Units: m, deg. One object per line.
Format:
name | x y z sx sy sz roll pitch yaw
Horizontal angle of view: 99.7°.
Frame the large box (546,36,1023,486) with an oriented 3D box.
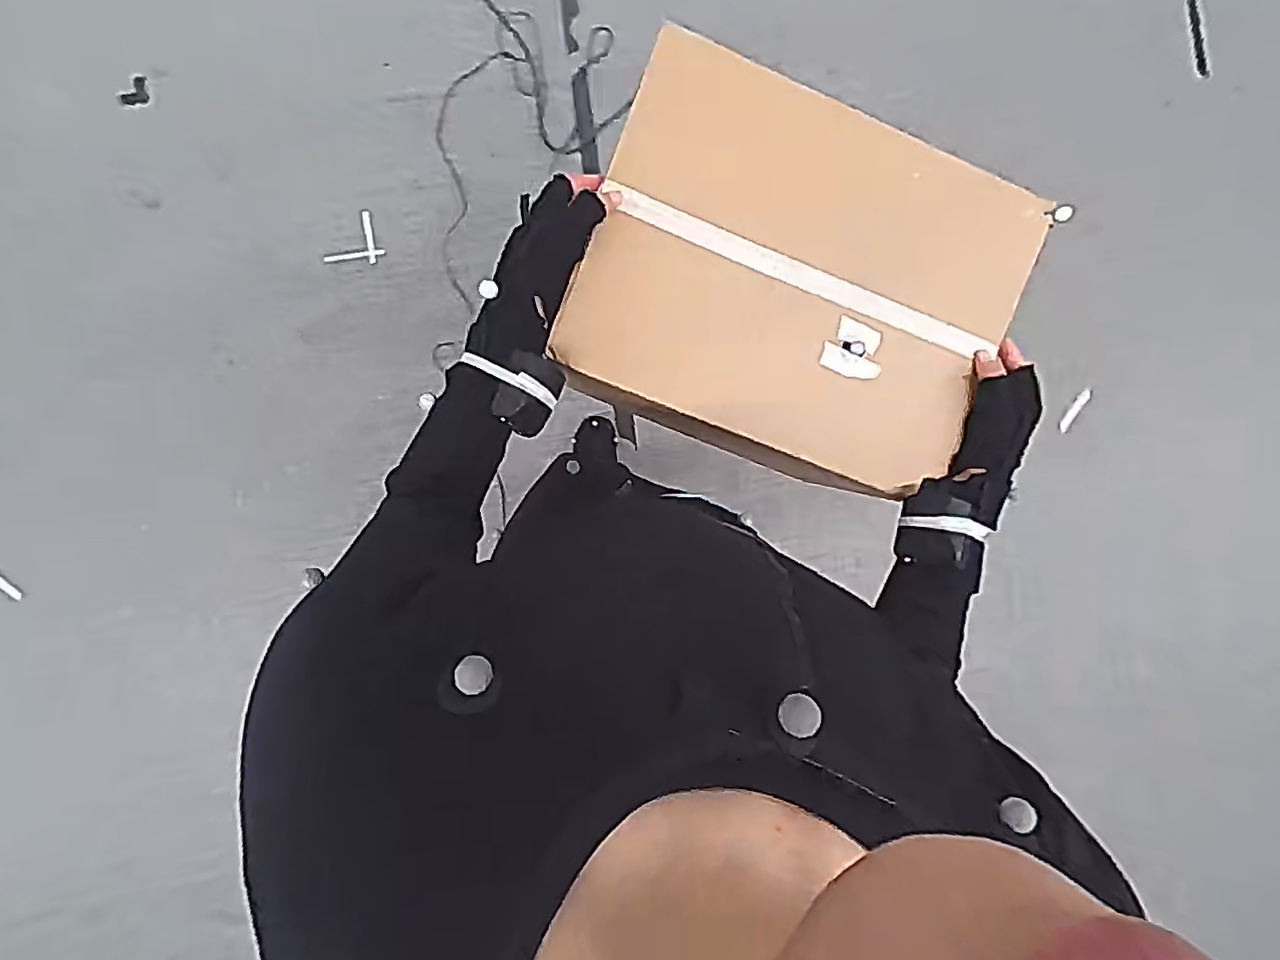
large box | 0.128 -0.210 0.663 0.408 0.320 0.320 19 94 -7
